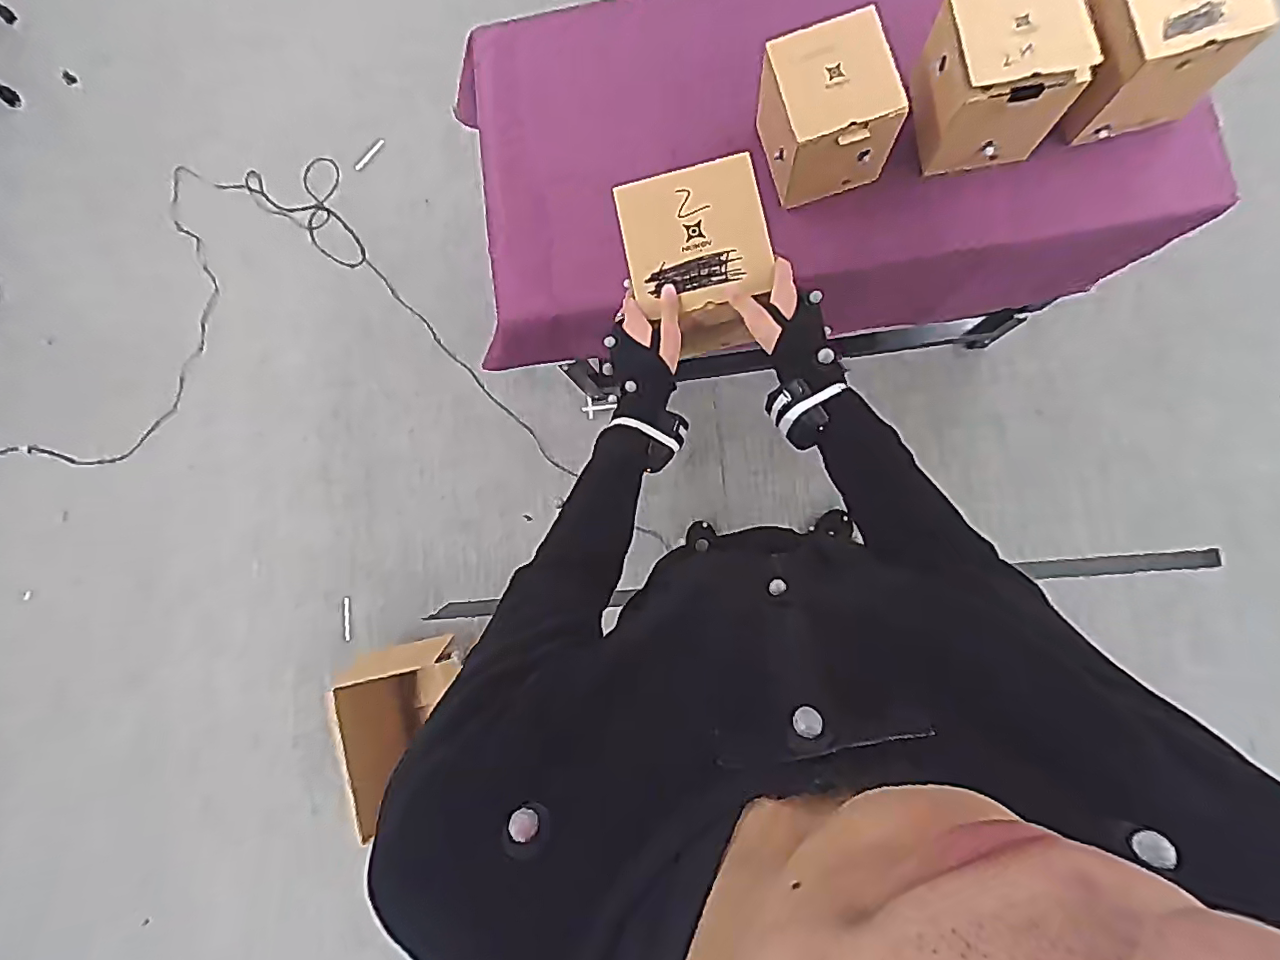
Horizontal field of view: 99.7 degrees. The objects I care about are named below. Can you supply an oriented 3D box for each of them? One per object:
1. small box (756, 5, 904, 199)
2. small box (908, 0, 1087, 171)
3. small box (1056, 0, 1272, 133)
[{"bbox_3d":[0.291,-0.585,0.868,0.168,0.176,0.179,-16,83,6],"label":"small box"},{"bbox_3d":[0.534,-0.621,0.835,0.168,0.176,0.179,-6,84,8],"label":"small box"},{"bbox_3d":[0.749,-0.661,0.809,0.168,0.176,0.179,-12,83,7],"label":"small box"}]
